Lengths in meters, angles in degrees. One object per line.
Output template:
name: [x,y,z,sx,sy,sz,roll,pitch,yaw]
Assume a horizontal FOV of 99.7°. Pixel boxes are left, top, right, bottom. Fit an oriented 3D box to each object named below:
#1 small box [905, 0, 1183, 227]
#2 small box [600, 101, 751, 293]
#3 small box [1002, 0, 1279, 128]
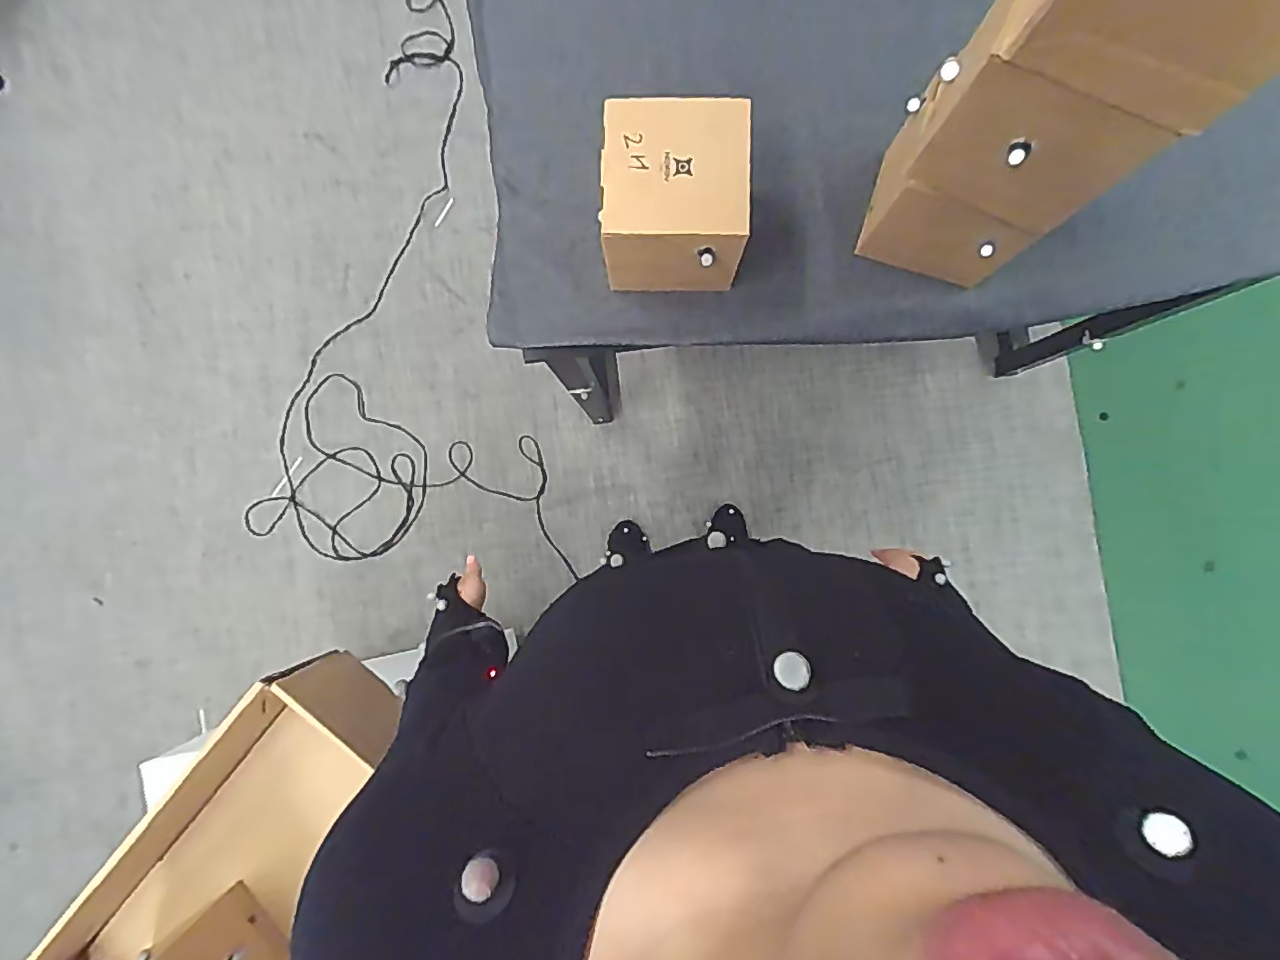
small box: [0.406,-0.385,0.535,0.179,0.176,0.168,26,87,4]
small box: [0.044,-0.358,0.712,0.179,0.176,0.168,1,87,2]
small box: [0.403,-0.393,0.373,0.179,0.176,0.168,26,87,3]
